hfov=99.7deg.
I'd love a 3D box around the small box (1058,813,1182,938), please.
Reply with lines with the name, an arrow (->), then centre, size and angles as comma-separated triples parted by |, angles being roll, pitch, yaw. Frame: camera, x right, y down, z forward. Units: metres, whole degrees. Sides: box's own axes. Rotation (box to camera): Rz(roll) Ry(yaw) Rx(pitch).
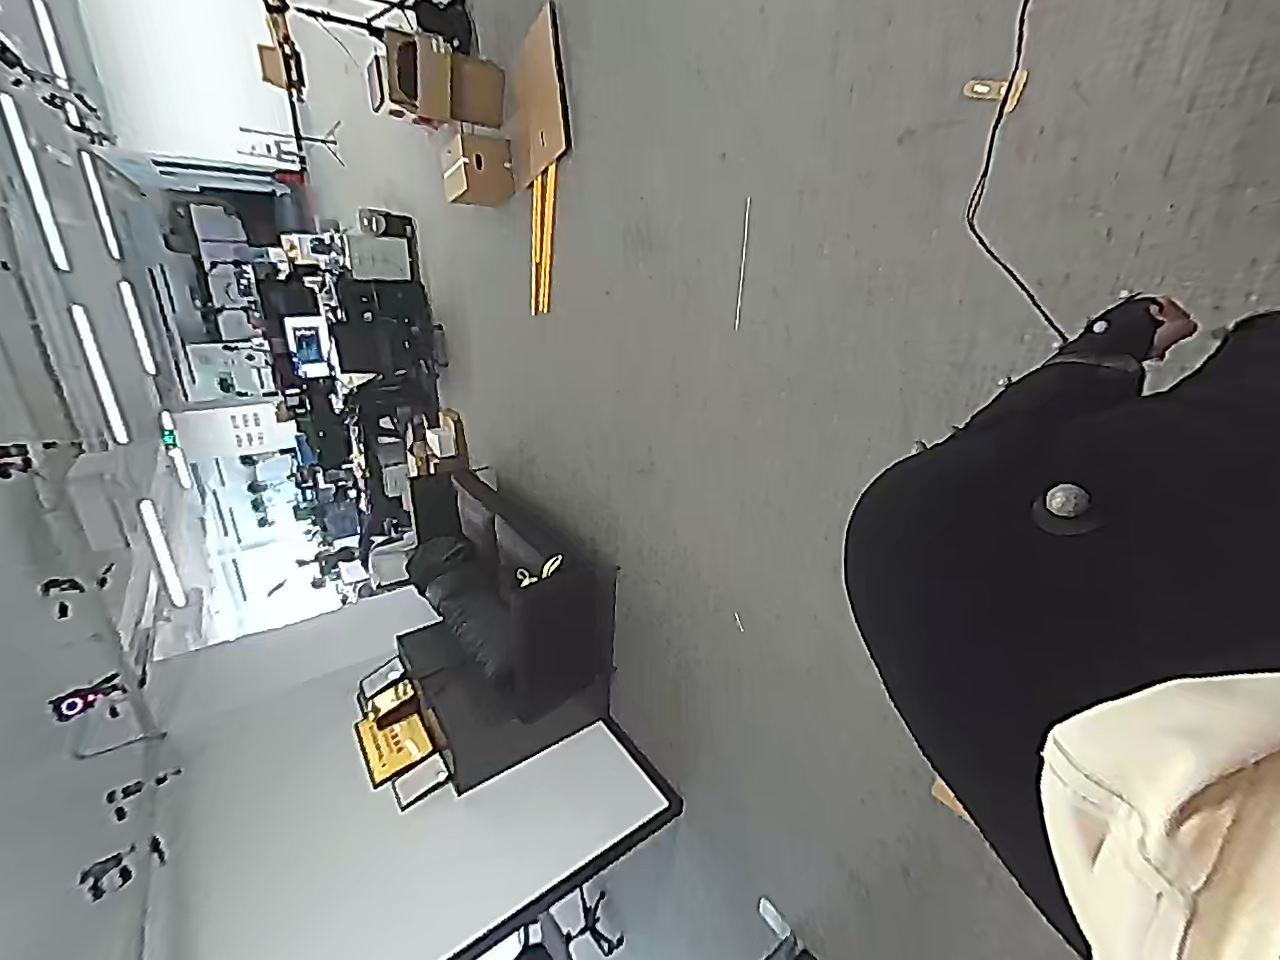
small box -> 1.241, 1.007, 1.400 | 0.179, 0.176, 0.168 | 30, 126, 46
